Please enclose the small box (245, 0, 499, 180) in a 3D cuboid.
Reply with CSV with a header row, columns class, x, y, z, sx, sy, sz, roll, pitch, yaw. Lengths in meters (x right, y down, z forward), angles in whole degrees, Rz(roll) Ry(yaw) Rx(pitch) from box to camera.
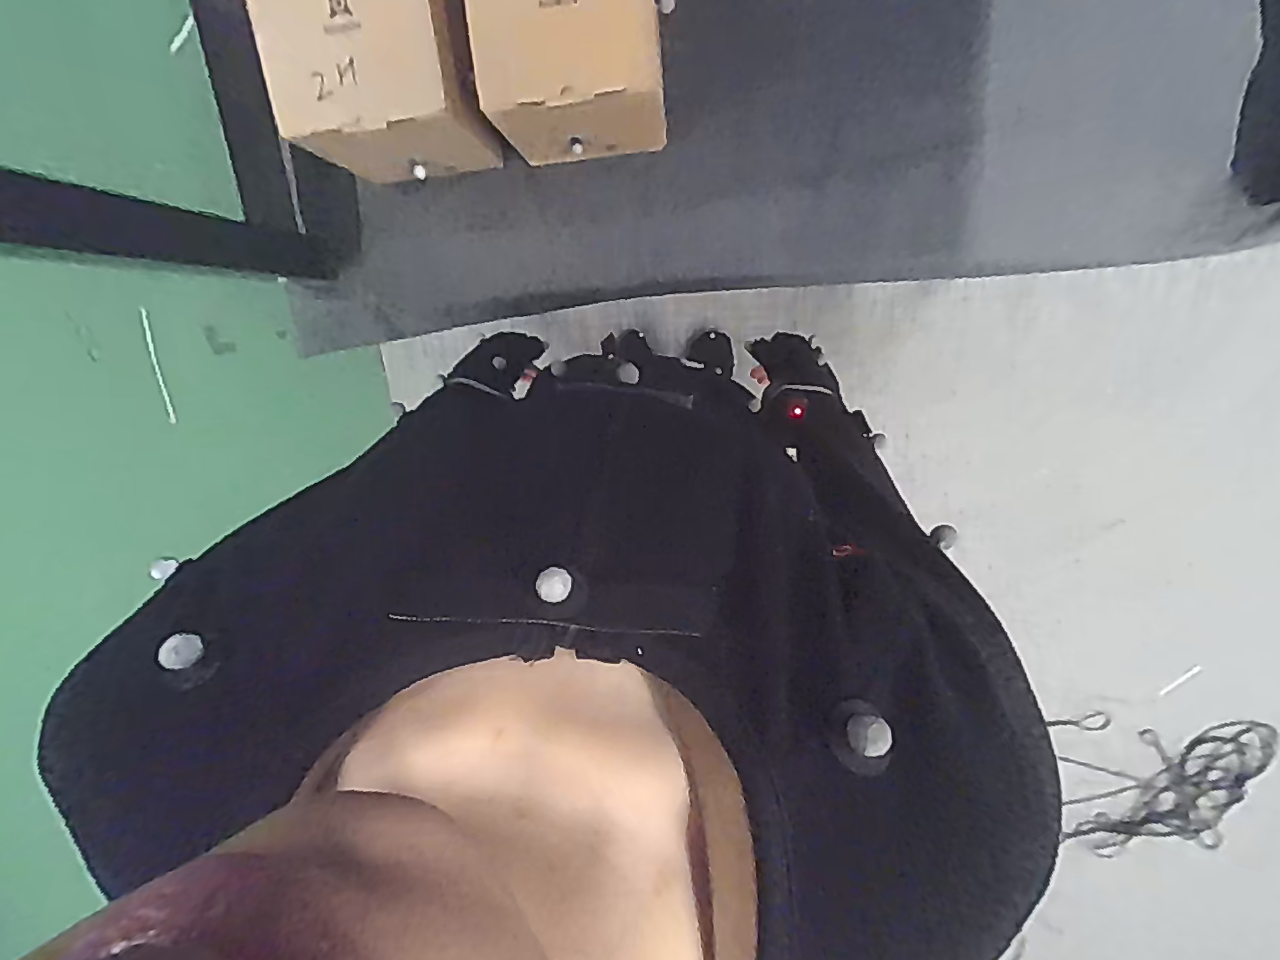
class,x,y,z,sx,sy,sz,roll,pitch,yaw
small box,-0.258,-0.430,0.548,0.168,0.176,0.179,-5,105,6
